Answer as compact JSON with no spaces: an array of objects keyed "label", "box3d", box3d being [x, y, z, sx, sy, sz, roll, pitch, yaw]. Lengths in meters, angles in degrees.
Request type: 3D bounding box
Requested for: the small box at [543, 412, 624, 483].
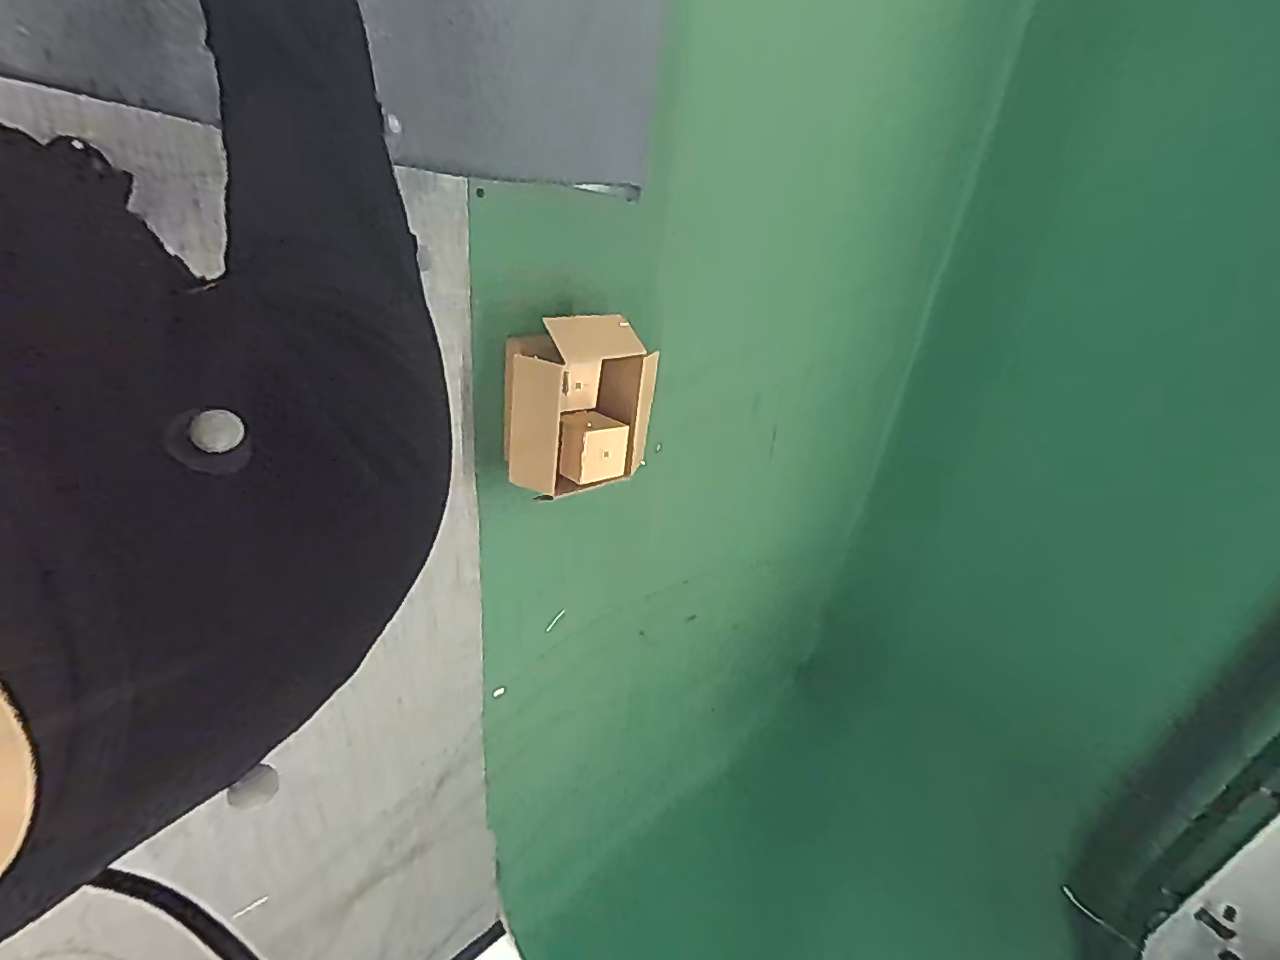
[{"label":"small box","box3d":[-0.177,-0.107,1.668,0.179,0.176,0.168,-13,120,-43]}]
